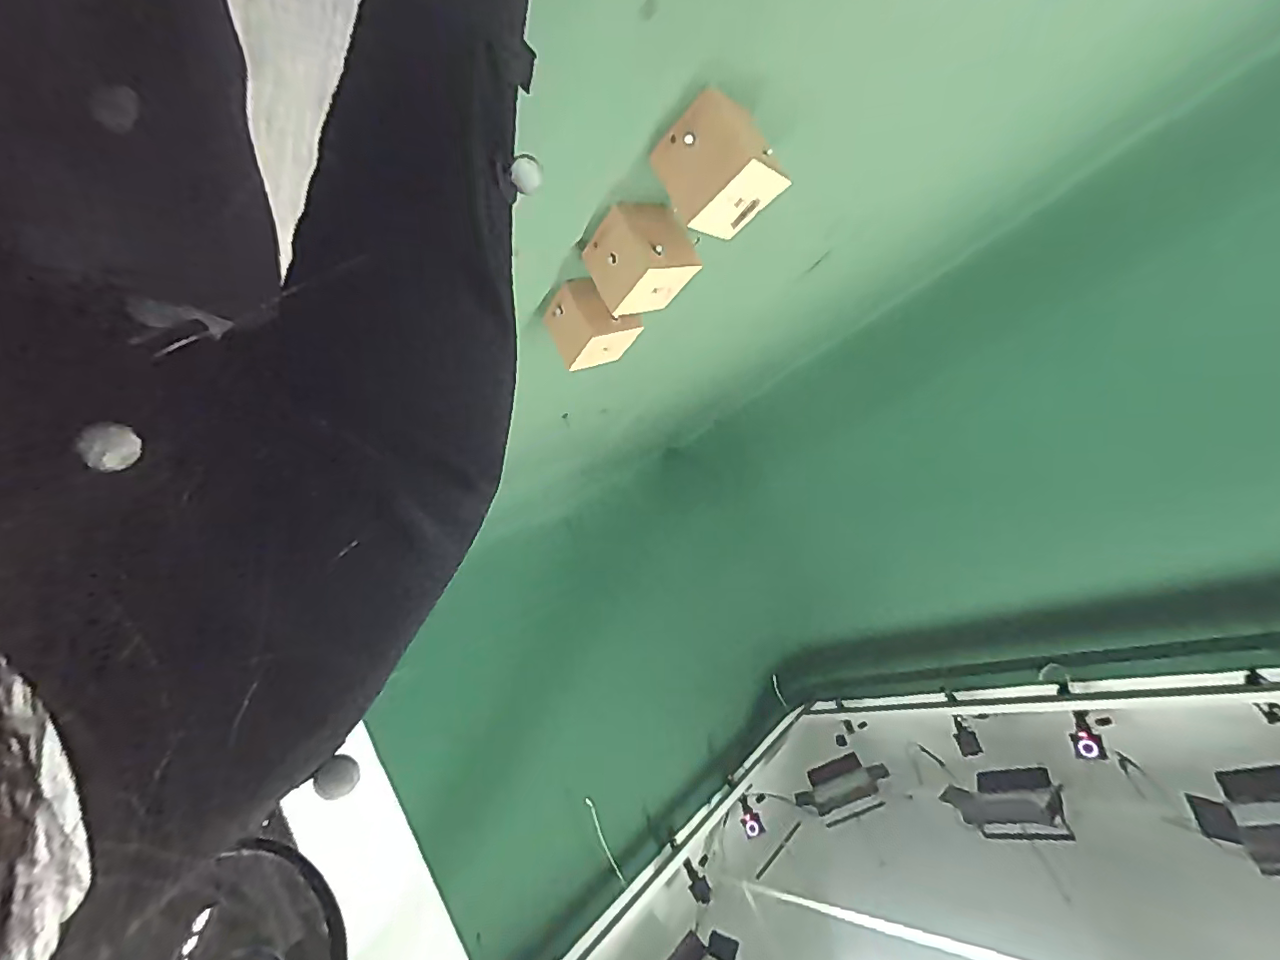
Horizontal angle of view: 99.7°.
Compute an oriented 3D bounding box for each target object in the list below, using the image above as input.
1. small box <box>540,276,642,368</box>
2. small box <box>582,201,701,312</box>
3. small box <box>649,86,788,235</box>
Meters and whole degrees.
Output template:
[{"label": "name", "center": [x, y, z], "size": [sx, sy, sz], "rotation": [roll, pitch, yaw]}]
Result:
[{"label": "small box", "center": [-0.131, -0.423, 1.425], "size": [0.179, 0.176, 0.168], "rotation": [-24, 173, -36]}, {"label": "small box", "center": [-0.003, -0.510, 1.232], "size": [0.179, 0.176, 0.168], "rotation": [-23, 174, -40]}, {"label": "small box", "center": [0.152, -0.612, 1.051], "size": [0.168, 0.176, 0.179], "rotation": [-33, 171, 37]}]
